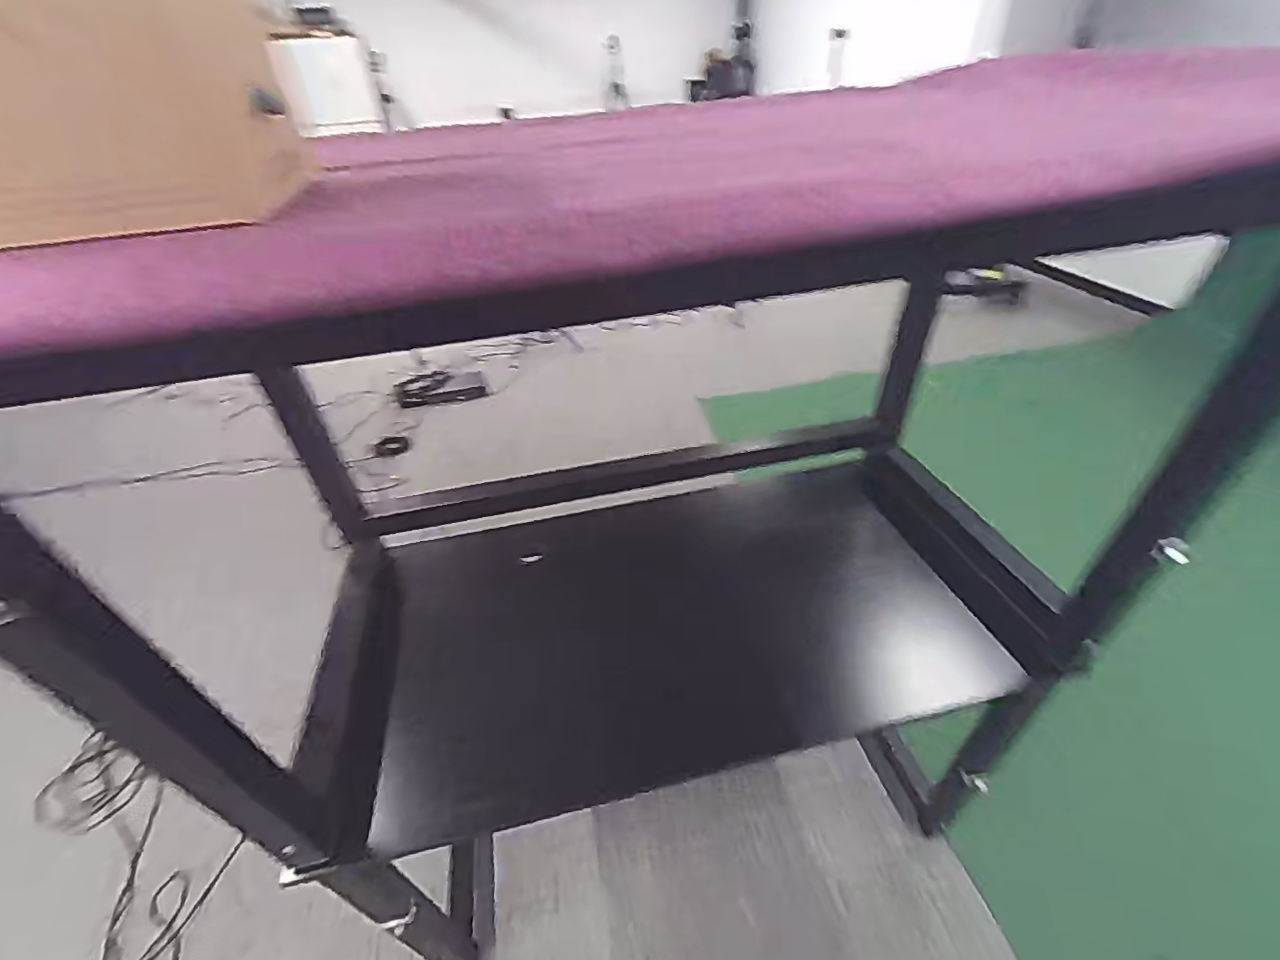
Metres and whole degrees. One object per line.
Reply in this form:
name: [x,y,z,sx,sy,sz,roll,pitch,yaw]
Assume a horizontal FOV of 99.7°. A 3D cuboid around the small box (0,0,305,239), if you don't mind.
small box: [-0.337,-0.250,0.311,0.179,0.176,0.168,-11,40,-8]
